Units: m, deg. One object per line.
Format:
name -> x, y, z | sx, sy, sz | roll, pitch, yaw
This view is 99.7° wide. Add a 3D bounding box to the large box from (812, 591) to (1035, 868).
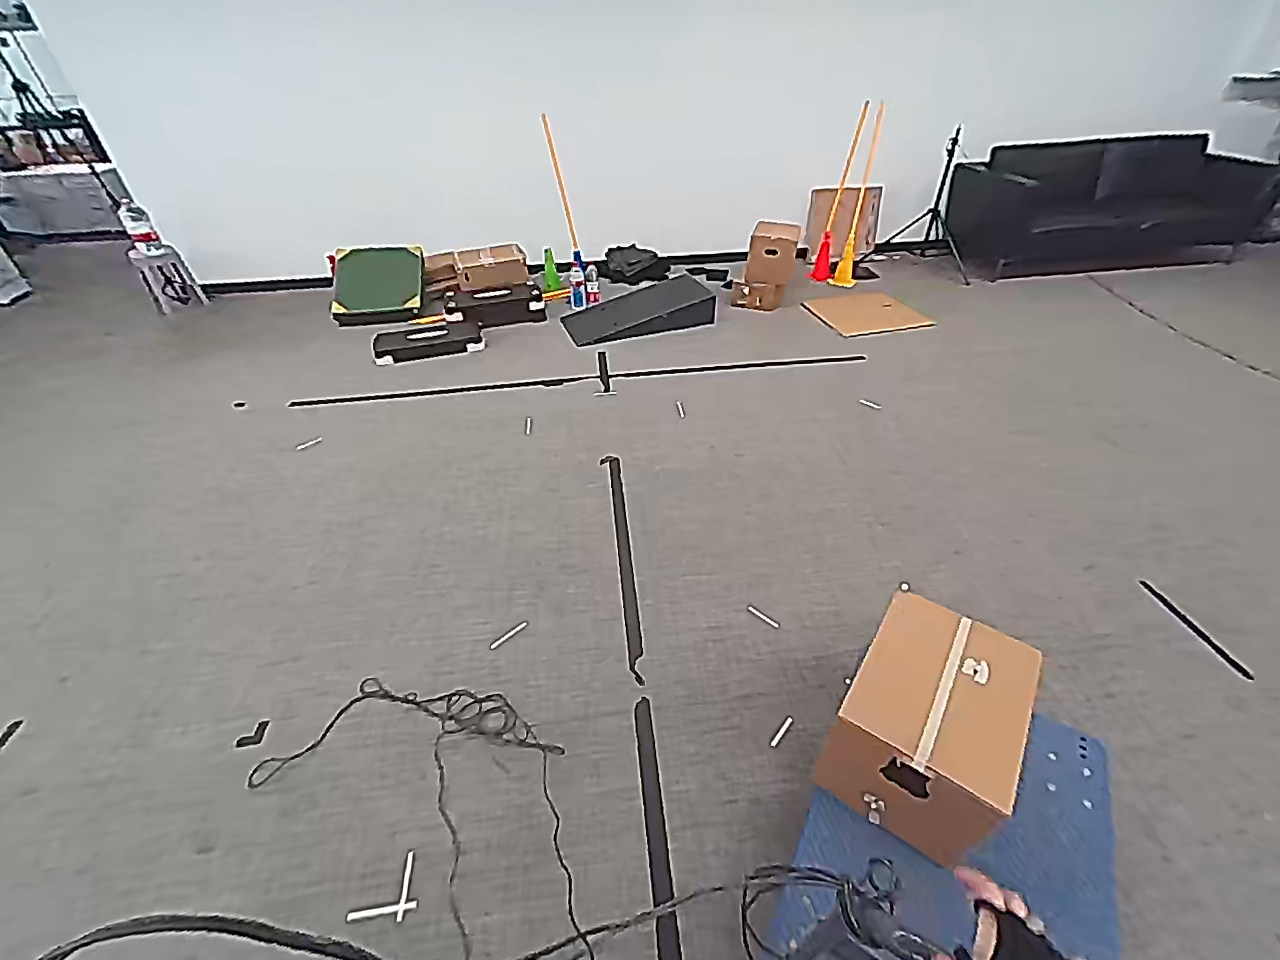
large box -> 0.629, 0.542, 1.220 | 0.320, 0.320, 0.408 | 25, 45, 27
